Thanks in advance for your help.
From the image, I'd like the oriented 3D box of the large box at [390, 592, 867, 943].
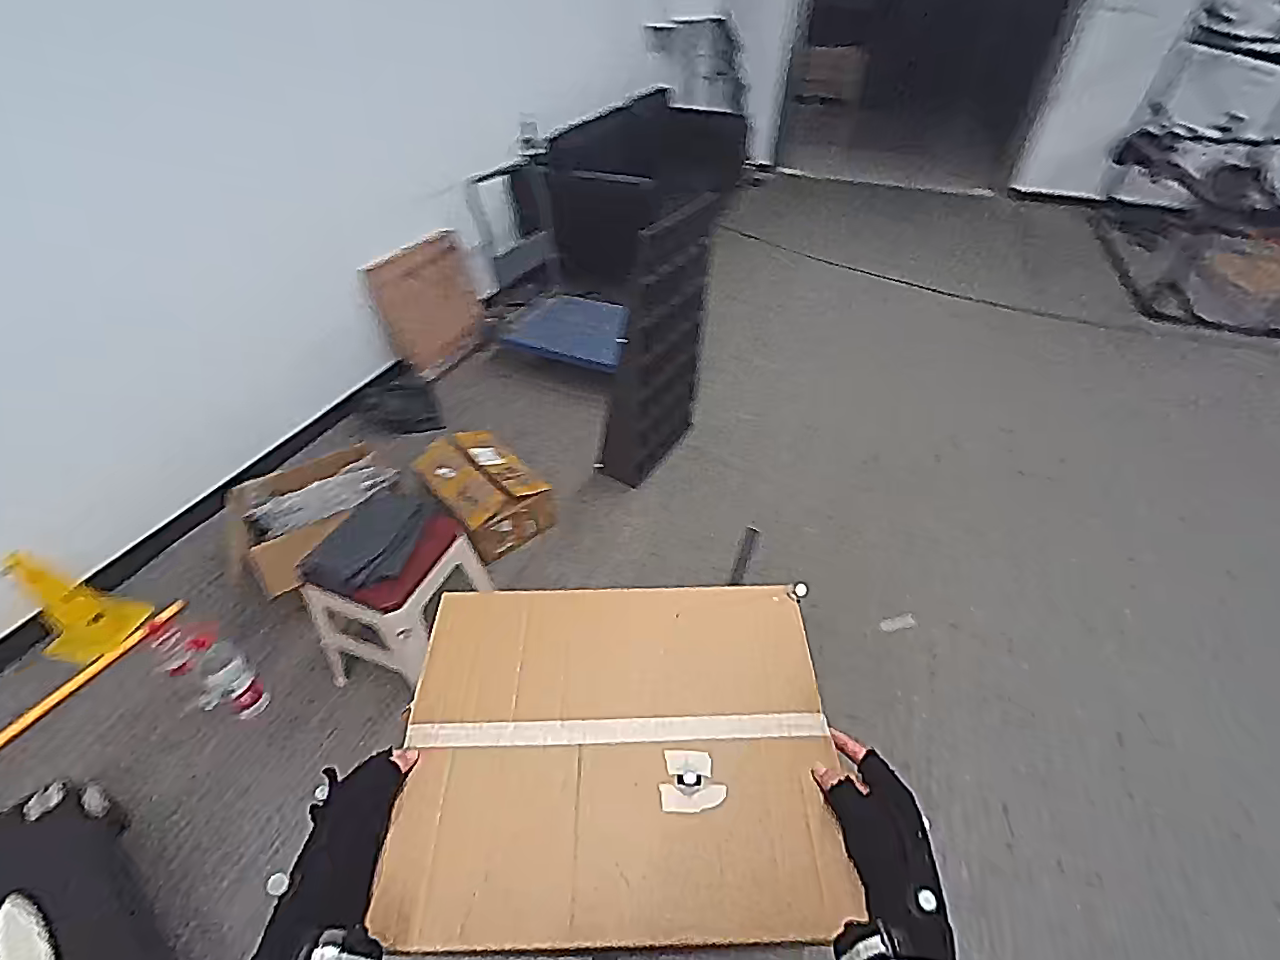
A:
[{"bbox_3d":[-0.012,0.347,0.651,0.408,0.320,0.320,0,49,0],"label":"large box"}]
